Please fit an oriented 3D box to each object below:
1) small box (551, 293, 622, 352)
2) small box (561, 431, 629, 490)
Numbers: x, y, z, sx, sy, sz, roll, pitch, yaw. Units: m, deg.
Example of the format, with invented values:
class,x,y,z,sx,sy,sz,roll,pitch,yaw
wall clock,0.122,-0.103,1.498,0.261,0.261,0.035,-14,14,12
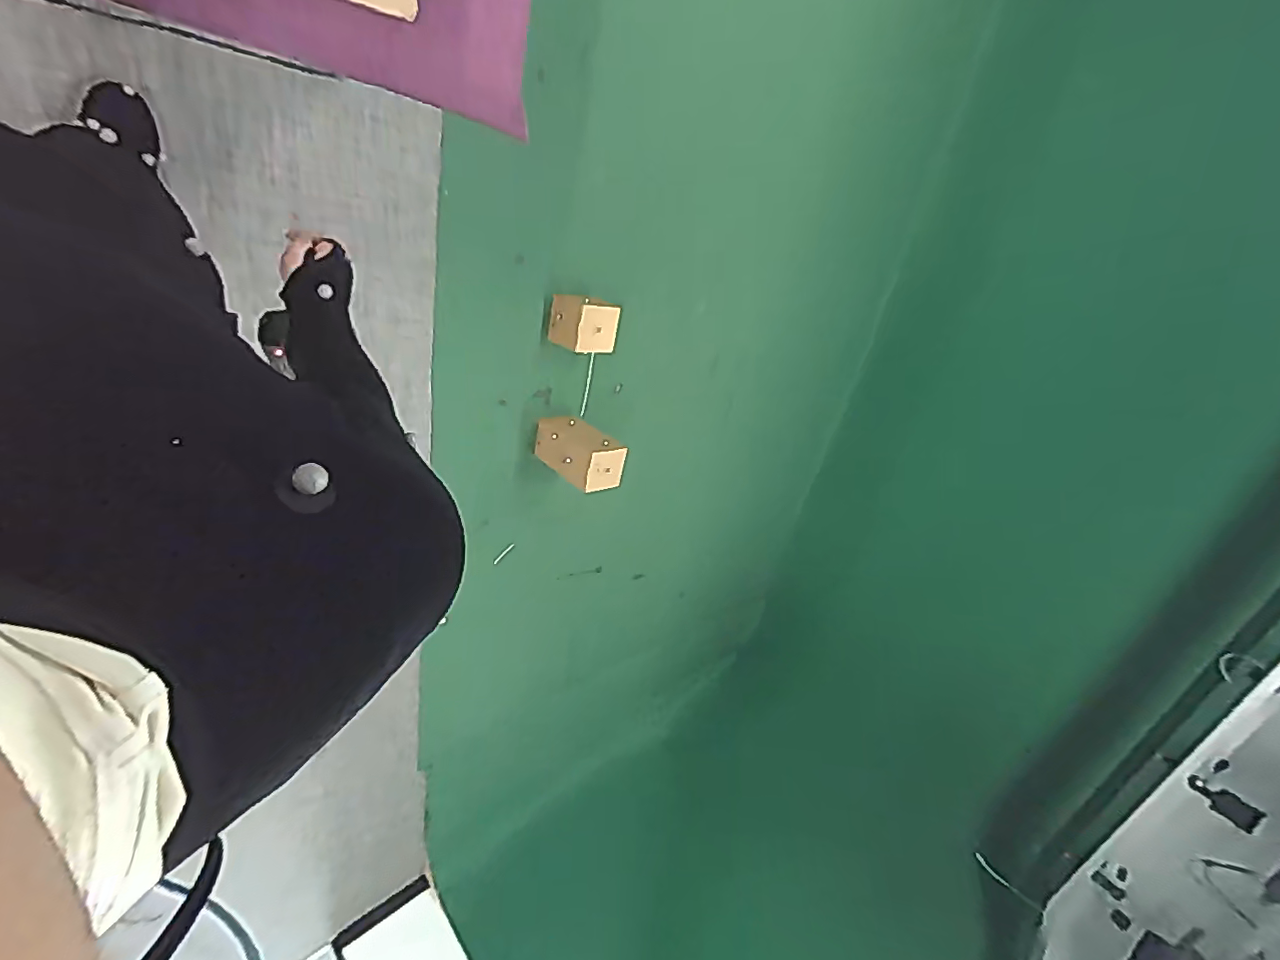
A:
class,x,y,z,sx,sy,sz,roll,pitch,yaw
small box,-0.197,-0.570,1.953,0.179,0.176,0.168,-13,125,-43
small box,-0.174,-0.081,2.064,0.179,0.176,0.168,-11,125,-44
